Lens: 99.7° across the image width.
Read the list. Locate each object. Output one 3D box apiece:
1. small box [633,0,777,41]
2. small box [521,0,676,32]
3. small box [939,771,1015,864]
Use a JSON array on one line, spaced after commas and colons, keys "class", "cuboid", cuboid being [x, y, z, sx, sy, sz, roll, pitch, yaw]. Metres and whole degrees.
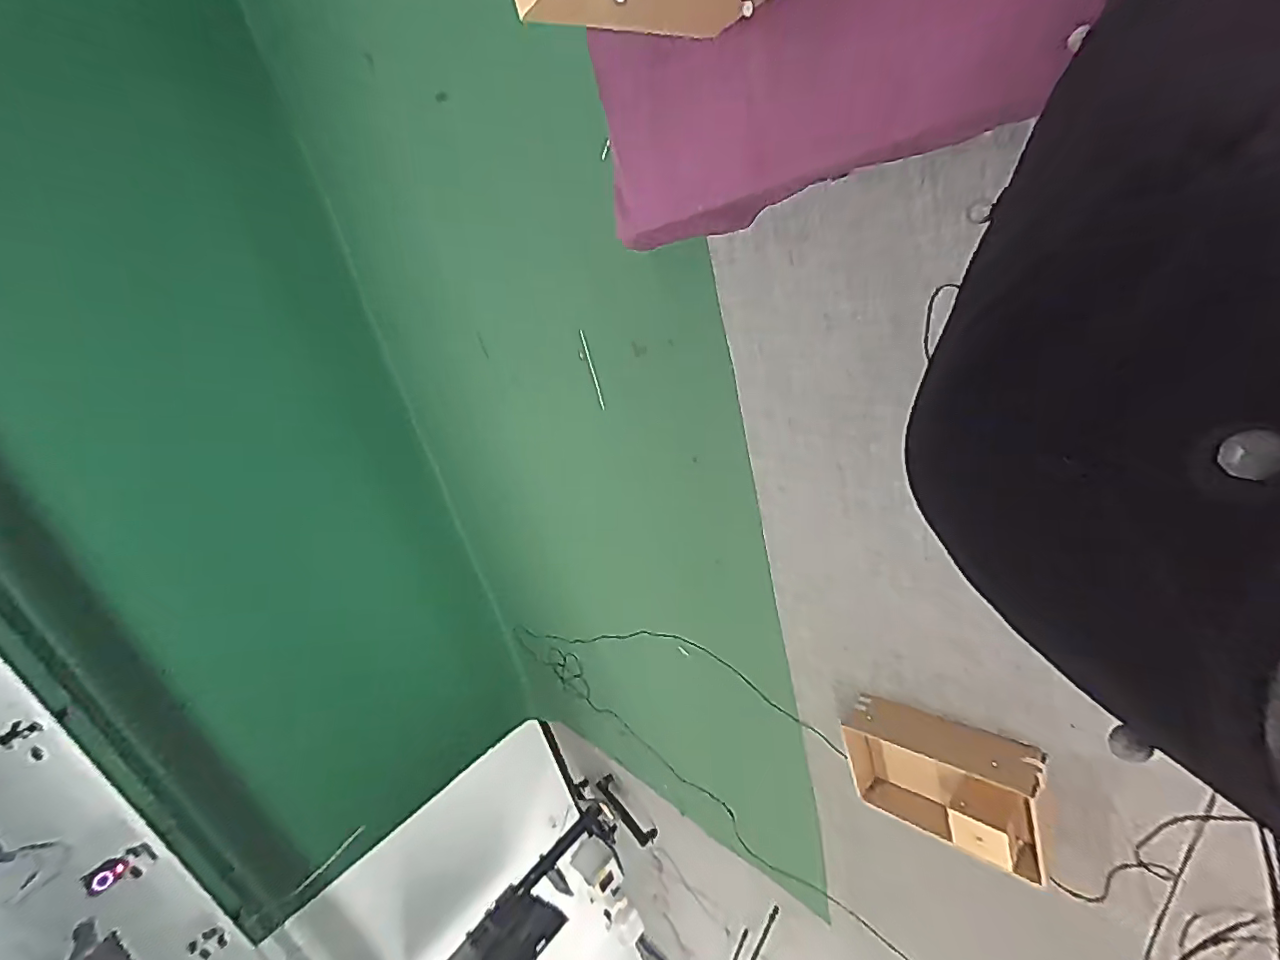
[{"class": "small box", "cuboid": [0.084, -0.655, 0.633, 0.179, 0.176, 0.168, 5, 119, 47]}, {"class": "small box", "cuboid": [-0.027, -0.585, 0.534, 0.179, 0.176, 0.168, 6, 120, 48]}, {"class": "small box", "cuboid": [1.143, 1.128, 1.824, 0.179, 0.176, 0.168, 3, 115, 49]}]
